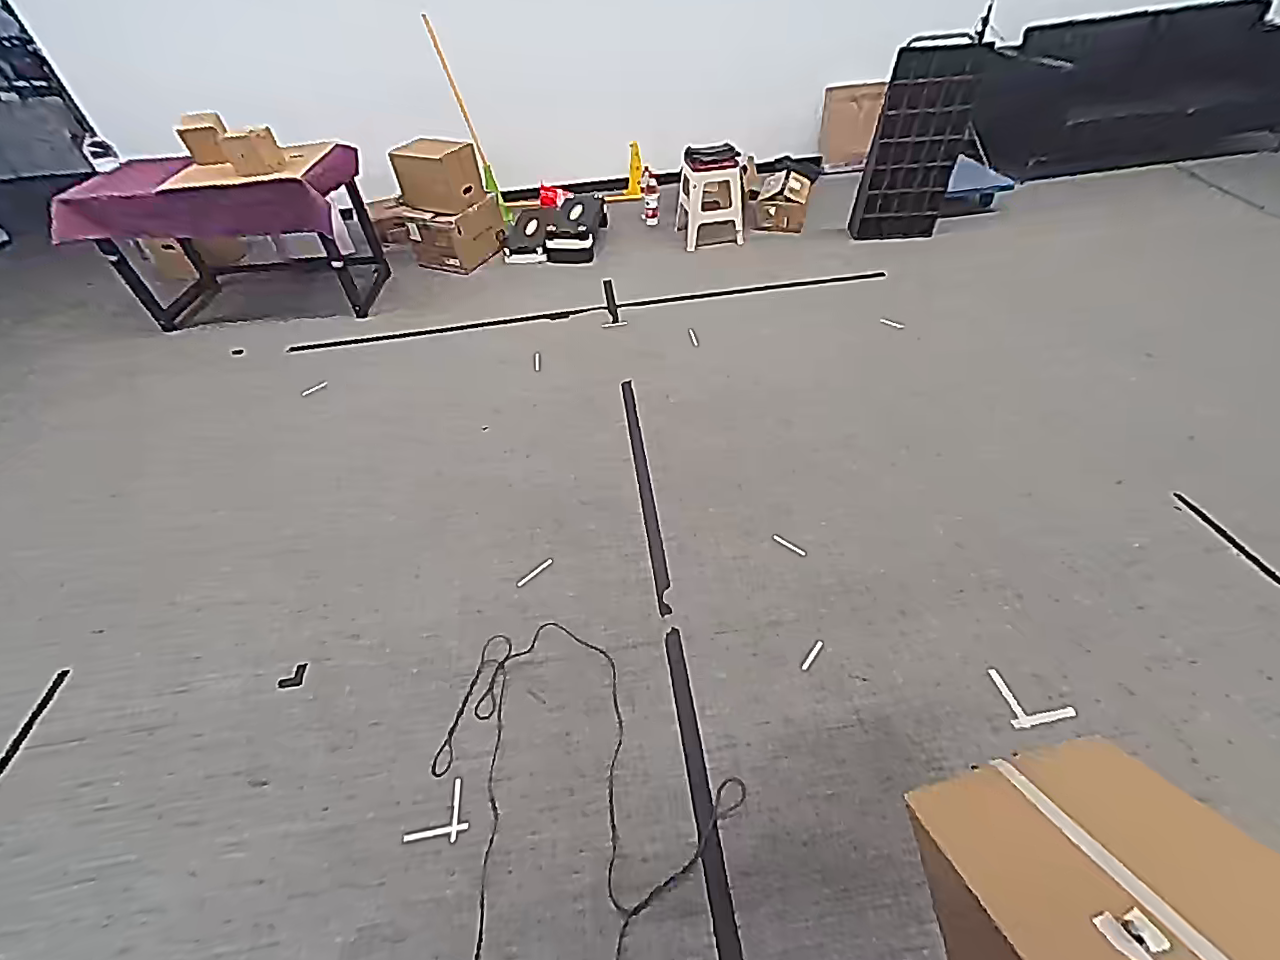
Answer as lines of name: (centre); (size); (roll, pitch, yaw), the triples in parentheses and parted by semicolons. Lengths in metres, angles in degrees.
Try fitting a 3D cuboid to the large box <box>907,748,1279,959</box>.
large box: (0.599, 0.614, 0.647); (0.320, 0.320, 0.408); (-17, 7, 0)
